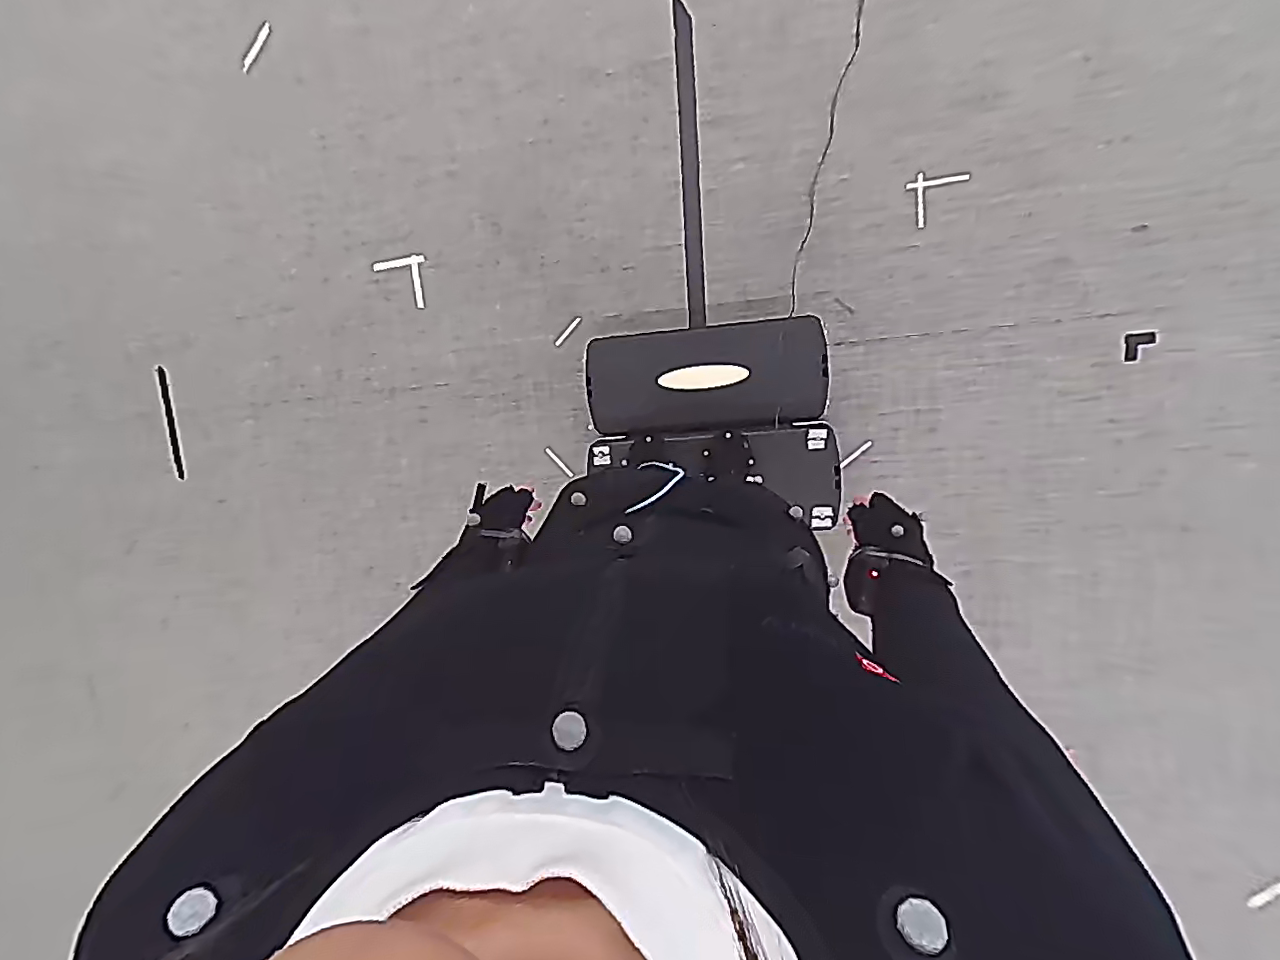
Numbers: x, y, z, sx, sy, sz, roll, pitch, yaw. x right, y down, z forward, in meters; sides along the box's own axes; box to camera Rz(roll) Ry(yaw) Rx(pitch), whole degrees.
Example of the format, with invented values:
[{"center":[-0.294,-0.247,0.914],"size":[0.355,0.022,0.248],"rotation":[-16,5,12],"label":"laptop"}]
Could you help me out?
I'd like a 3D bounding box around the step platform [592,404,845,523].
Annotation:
[{"center":[0.208,-0.042,1.510],"size":[0.684,0.204,0.286],"rotation":[-4,96,11],"label":"step platform"}]
